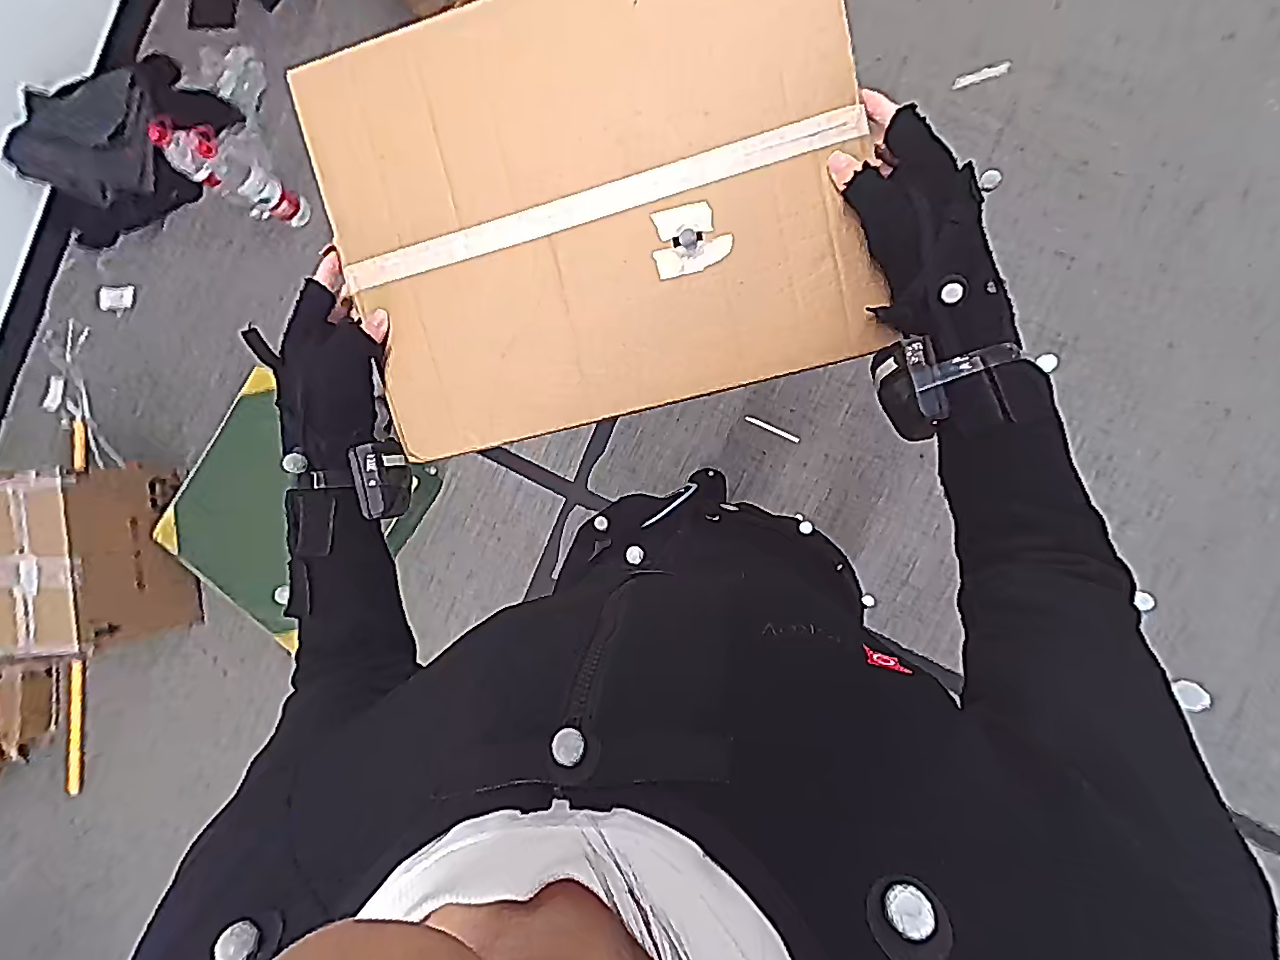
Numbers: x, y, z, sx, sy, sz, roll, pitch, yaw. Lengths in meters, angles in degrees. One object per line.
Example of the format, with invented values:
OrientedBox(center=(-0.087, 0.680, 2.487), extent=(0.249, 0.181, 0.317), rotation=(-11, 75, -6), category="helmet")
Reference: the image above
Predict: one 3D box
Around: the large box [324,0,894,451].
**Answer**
OrientedBox(center=(-0.015, -0.237, 0.568), extent=(0.408, 0.320, 0.320), rotation=(-12, 99, 8), category="large box")
